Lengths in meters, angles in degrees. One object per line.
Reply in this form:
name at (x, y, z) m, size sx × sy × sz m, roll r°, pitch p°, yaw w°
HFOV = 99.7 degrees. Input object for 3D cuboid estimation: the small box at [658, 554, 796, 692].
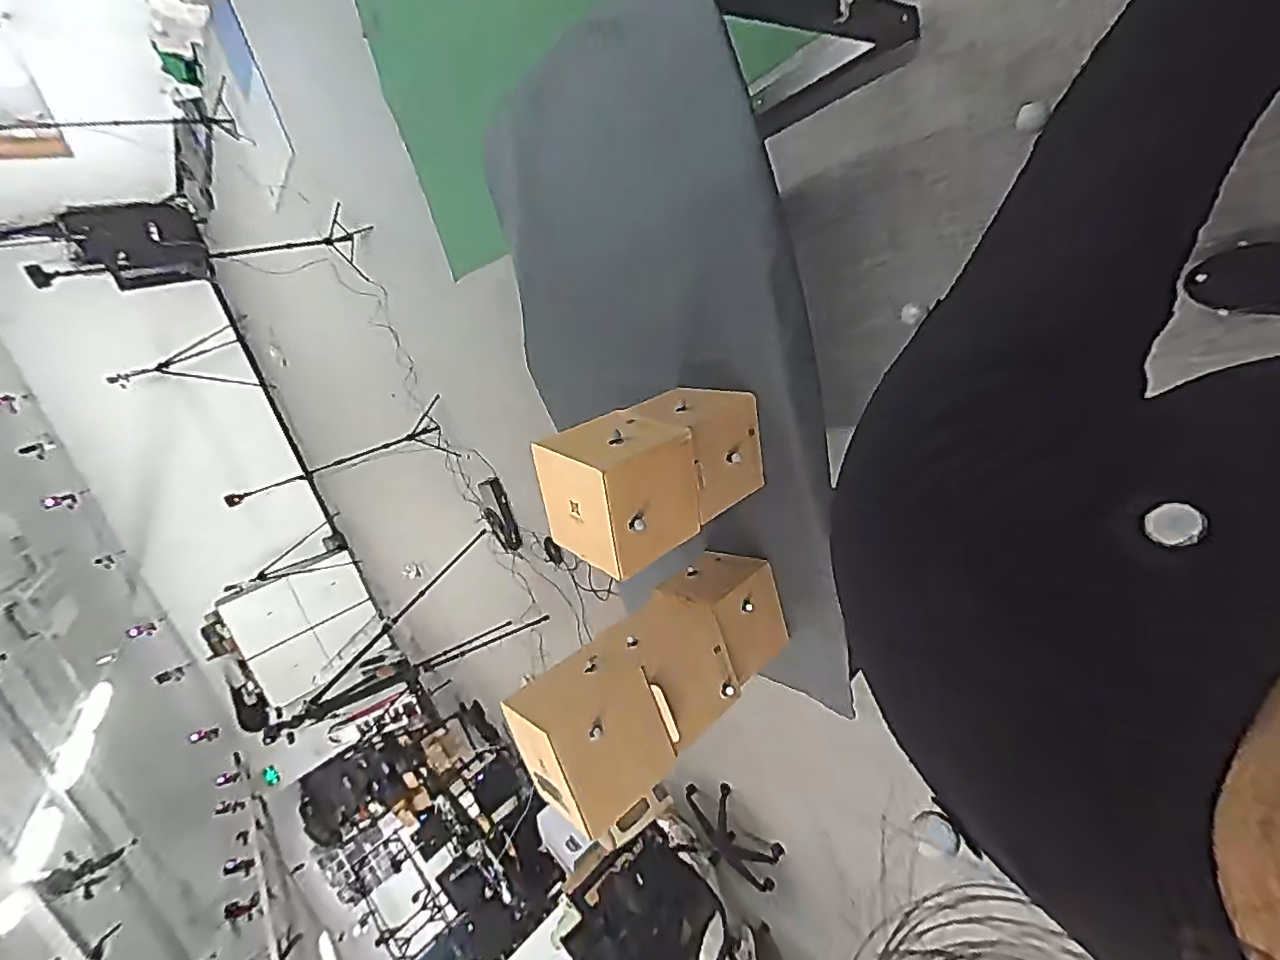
small box at (0.167, 0.256, 1.020) m, size 0.168 × 0.176 × 0.179 m, roll 1°, pitch 113°, yaw 53°

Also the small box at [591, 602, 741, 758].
small box at (0.052, 0.327, 0.927) m, size 0.179 × 0.176 × 0.168 m, roll -5°, pitch 108°, yaw 55°

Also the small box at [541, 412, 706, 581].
small box at (-0.018, 0.012, 0.804) m, size 0.168 × 0.176 × 0.179 m, roll 21°, pitch 129°, yaw 44°

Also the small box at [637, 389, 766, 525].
small box at (0.096, -0.048, 0.906) m, size 0.179 × 0.176 × 0.168 m, roll 14°, pitch 123°, yaw 46°
